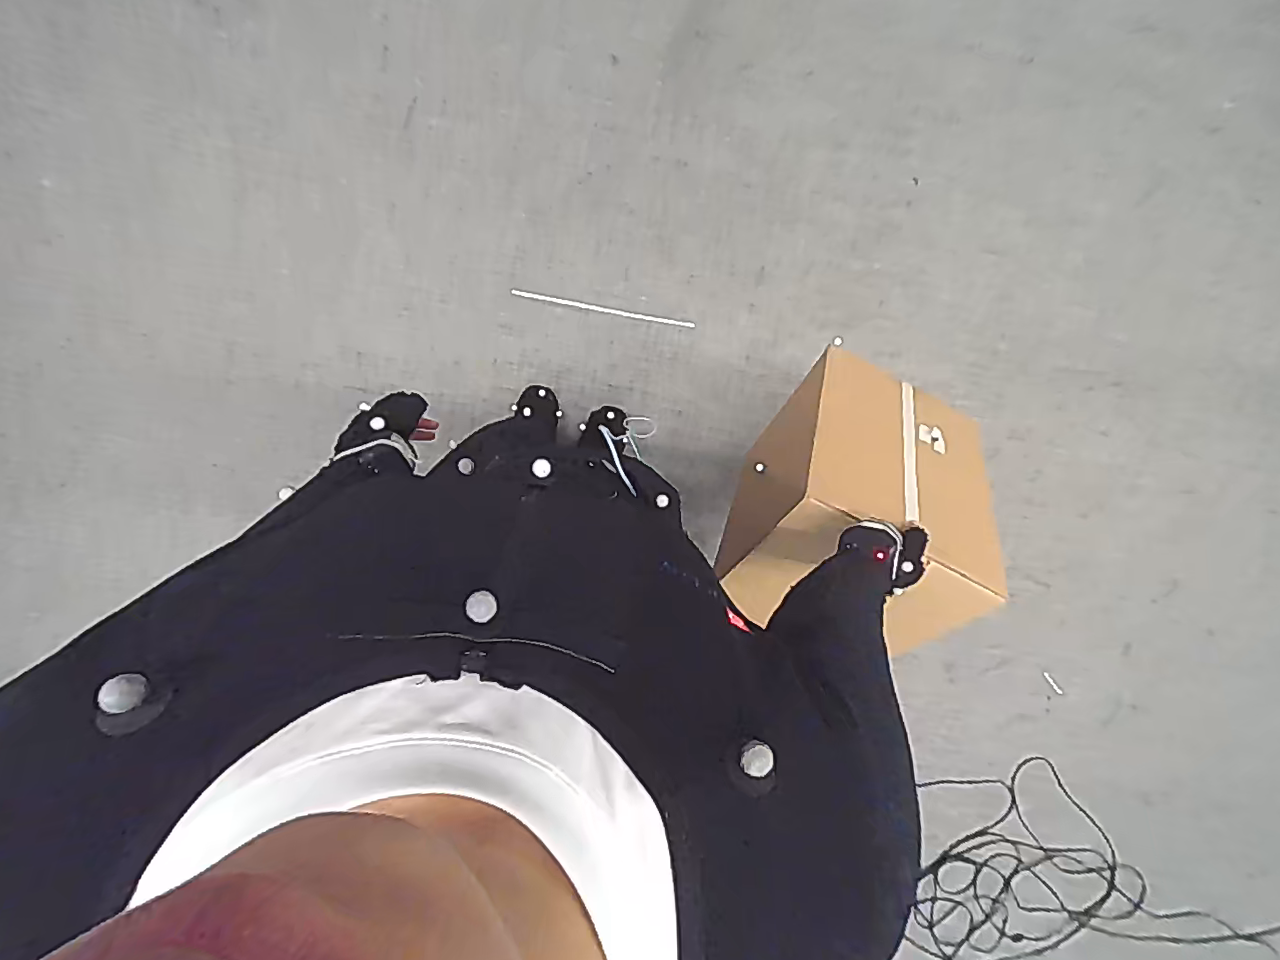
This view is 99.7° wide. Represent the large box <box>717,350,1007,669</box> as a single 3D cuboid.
[{"bbox_3d":[0.370,0.051,0.963,0.320,0.408,0.320,28,137,-3],"label":"large box"}]
